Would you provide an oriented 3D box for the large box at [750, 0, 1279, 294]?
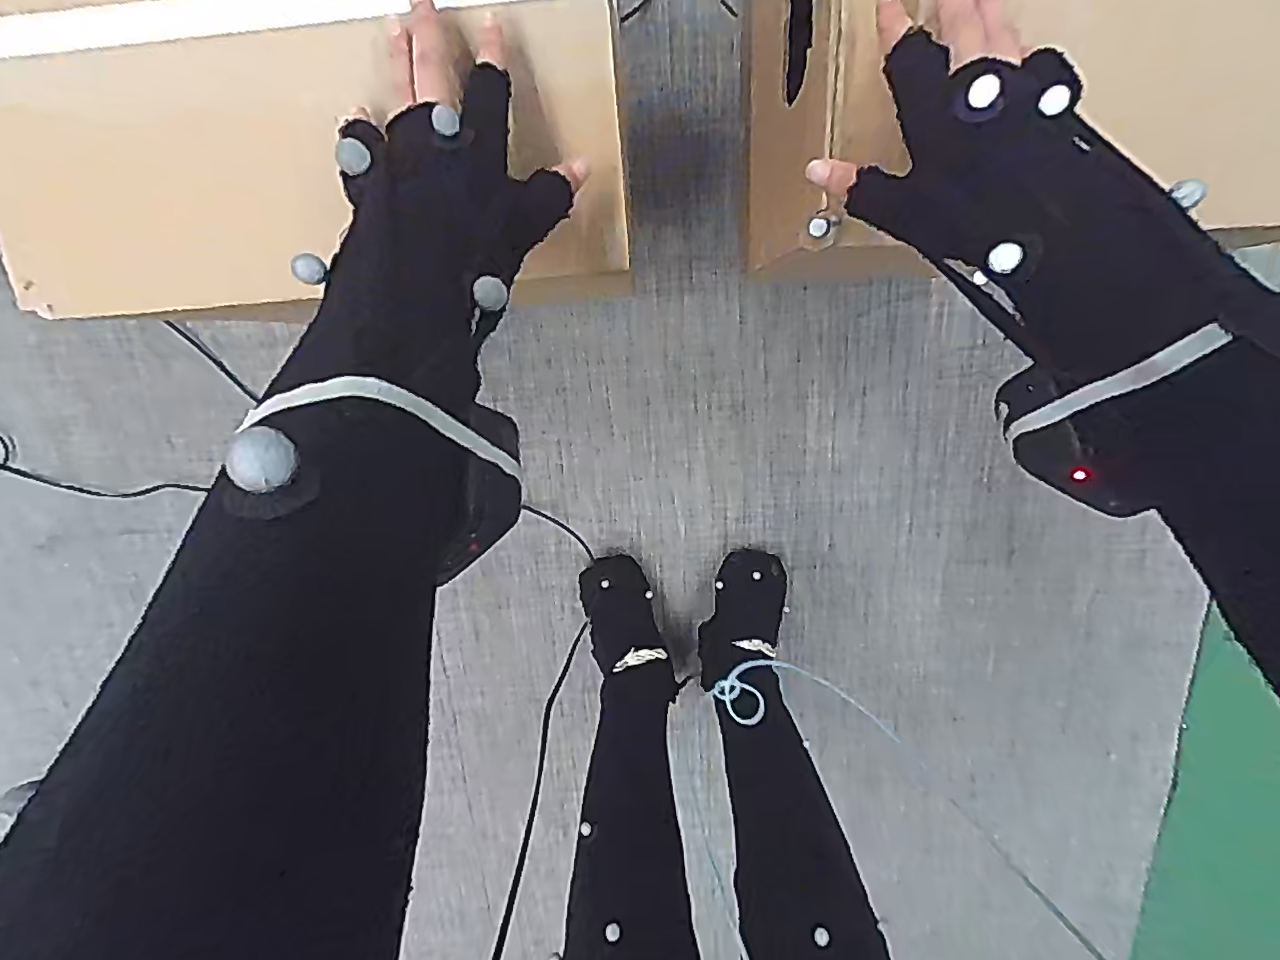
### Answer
[{"bbox_3d":[0.327,-0.343,0.482,0.408,0.320,0.320,-2,105,2],"label":"large box"}]
